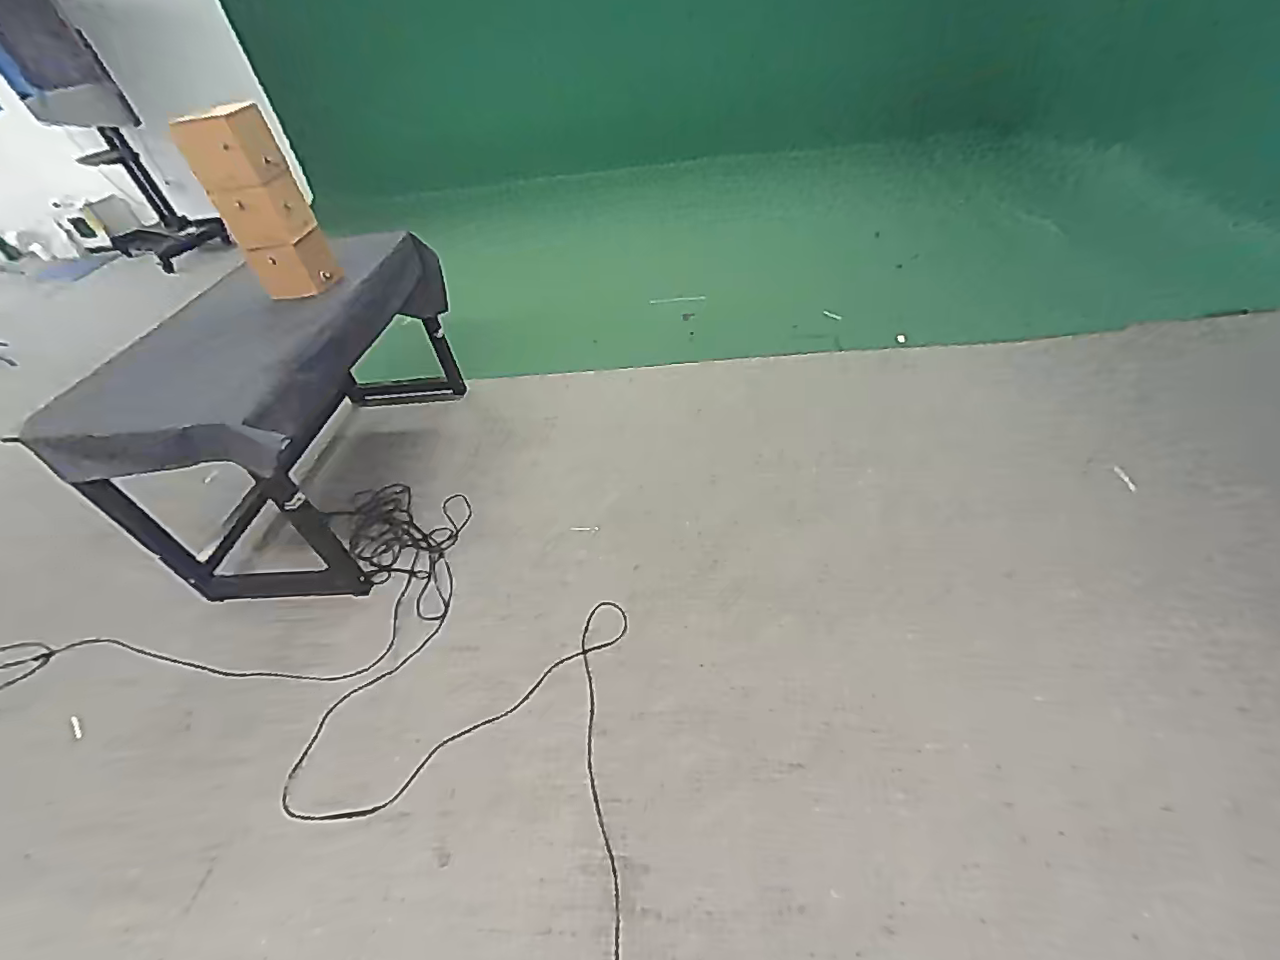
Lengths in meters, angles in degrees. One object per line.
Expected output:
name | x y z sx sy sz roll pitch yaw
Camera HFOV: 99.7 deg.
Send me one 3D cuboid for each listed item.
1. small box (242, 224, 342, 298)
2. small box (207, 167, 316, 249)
small box | -1.110 -0.701 1.741 0.179 0.176 0.168 -2 45 7
small box | -1.122 -0.814 1.624 0.179 0.176 0.168 -4 45 7
